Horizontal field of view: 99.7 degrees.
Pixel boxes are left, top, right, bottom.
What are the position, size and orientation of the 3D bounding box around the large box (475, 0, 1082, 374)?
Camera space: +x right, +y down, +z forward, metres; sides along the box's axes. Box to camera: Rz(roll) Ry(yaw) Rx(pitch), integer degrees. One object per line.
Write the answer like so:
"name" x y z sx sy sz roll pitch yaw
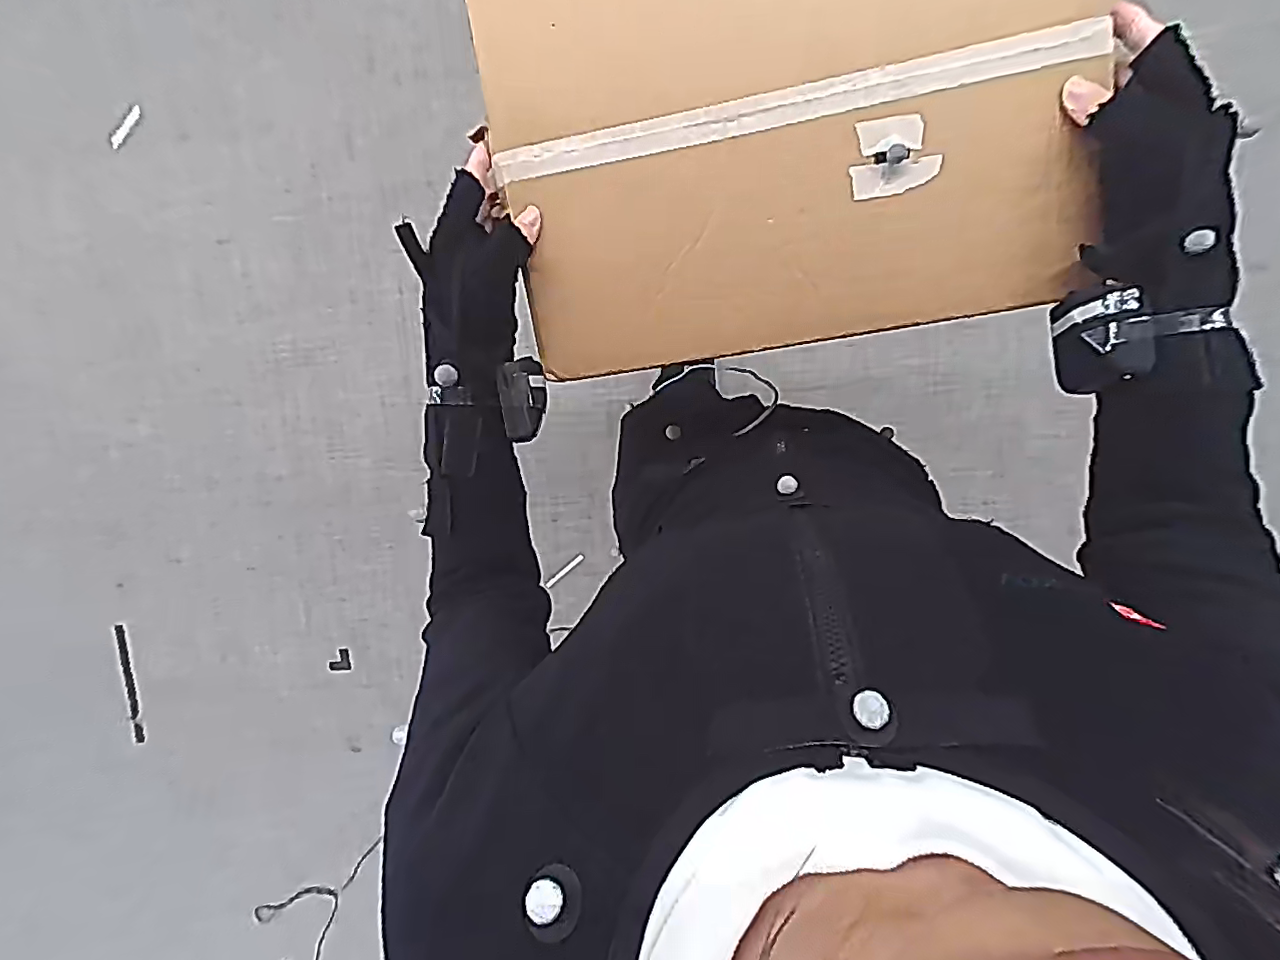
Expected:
"large box" 0.108 -0.298 0.527 0.408 0.320 0.320 -8 104 7
